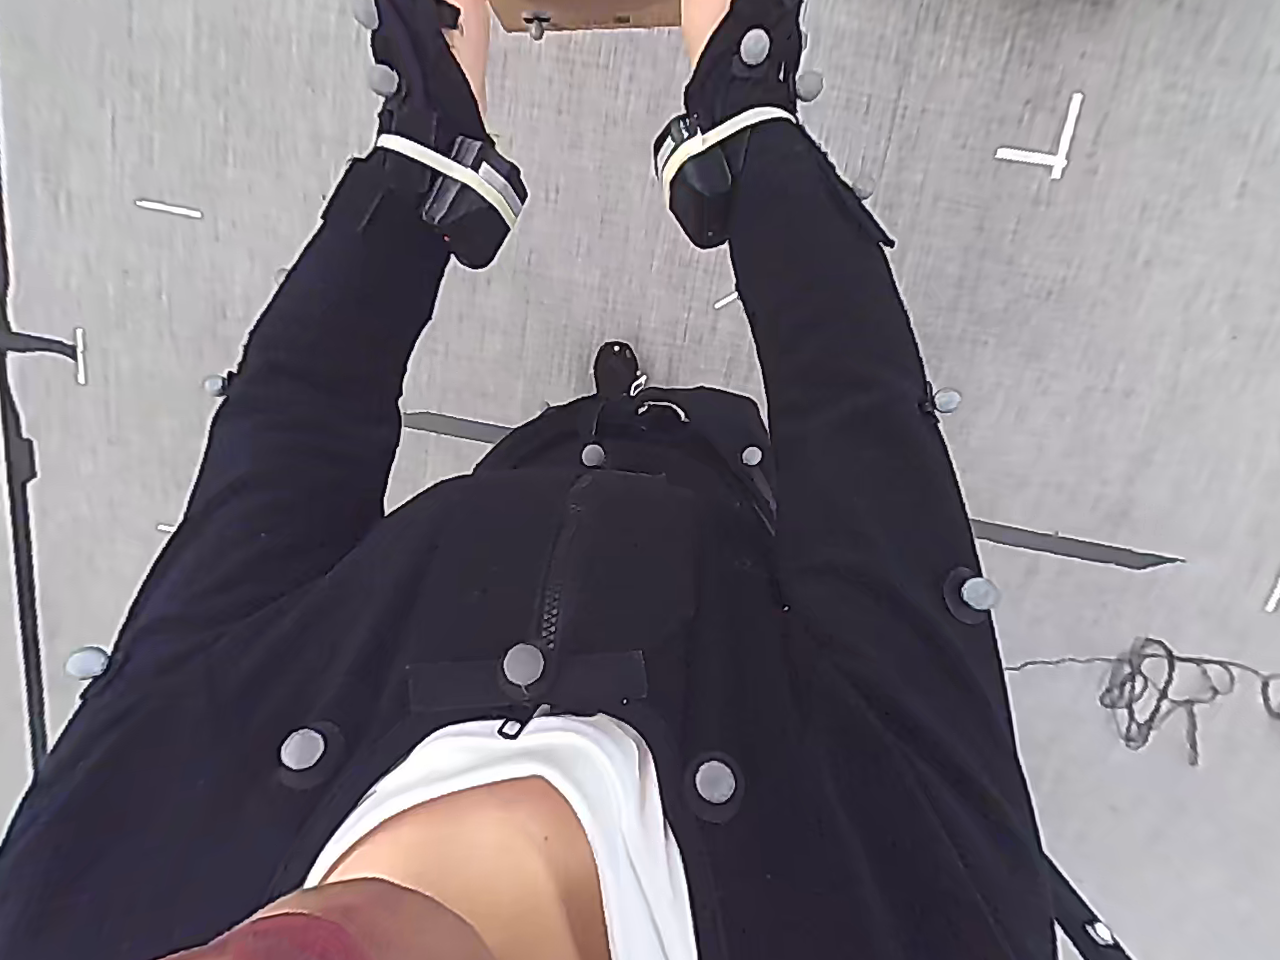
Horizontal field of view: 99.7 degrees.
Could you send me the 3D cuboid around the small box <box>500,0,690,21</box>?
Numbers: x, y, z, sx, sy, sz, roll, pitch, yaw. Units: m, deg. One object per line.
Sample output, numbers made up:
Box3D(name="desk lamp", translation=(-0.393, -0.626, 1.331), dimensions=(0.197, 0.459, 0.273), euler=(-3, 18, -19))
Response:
Box3D(name="small box", translation=(-0.039, -0.450, 0.371), dimensions=(0.168, 0.176, 0.179), euler=(-2, 110, 0))
